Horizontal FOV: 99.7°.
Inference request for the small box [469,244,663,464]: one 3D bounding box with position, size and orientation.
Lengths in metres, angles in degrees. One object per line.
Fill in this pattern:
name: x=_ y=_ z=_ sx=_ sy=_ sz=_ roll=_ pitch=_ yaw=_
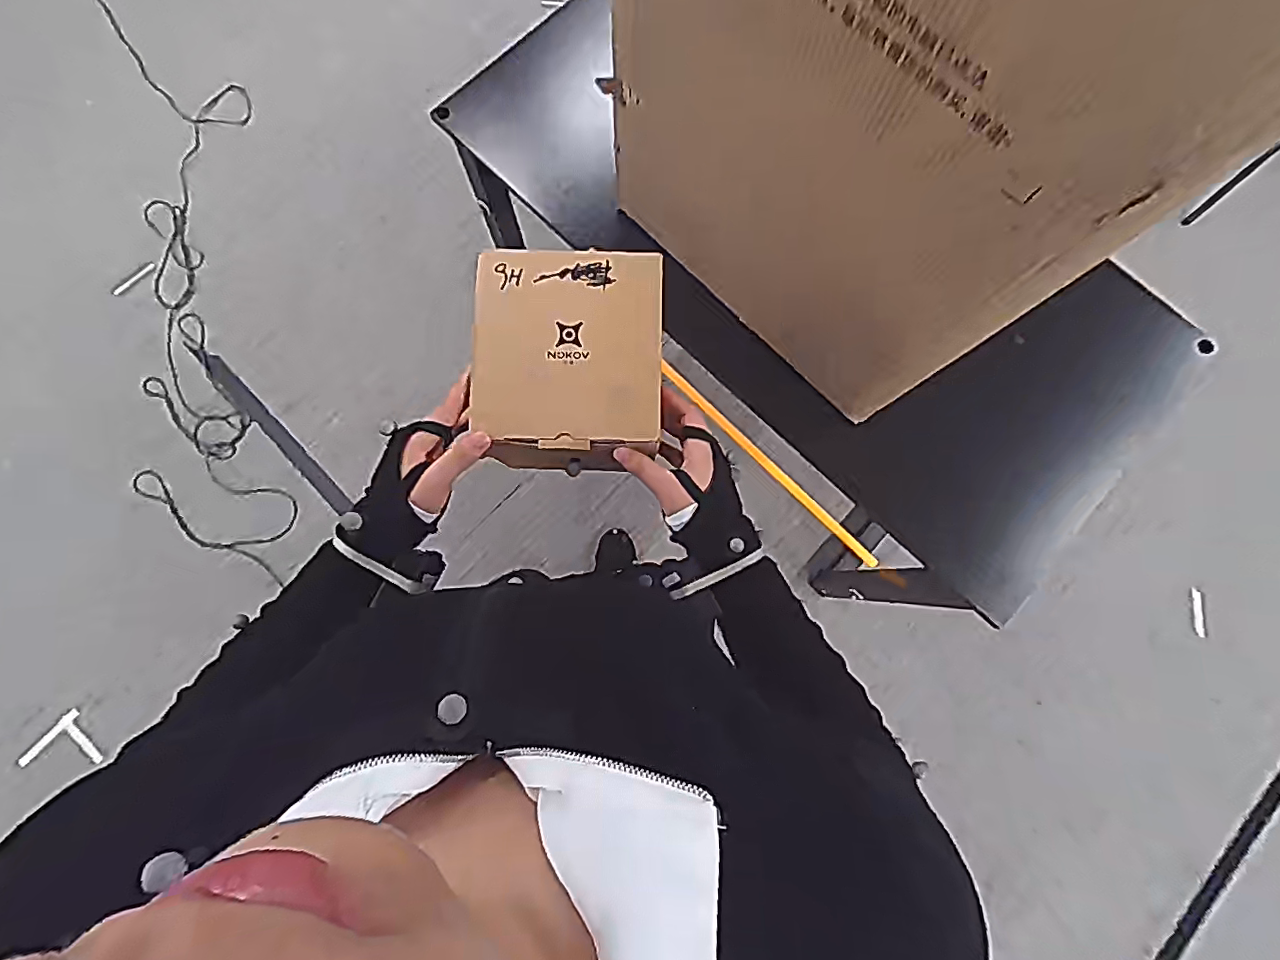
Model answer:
small box: x=-0.062 y=-0.111 z=0.543 sx=0.168 sy=0.176 sz=0.179 roll=1 pitch=84 yaw=0
